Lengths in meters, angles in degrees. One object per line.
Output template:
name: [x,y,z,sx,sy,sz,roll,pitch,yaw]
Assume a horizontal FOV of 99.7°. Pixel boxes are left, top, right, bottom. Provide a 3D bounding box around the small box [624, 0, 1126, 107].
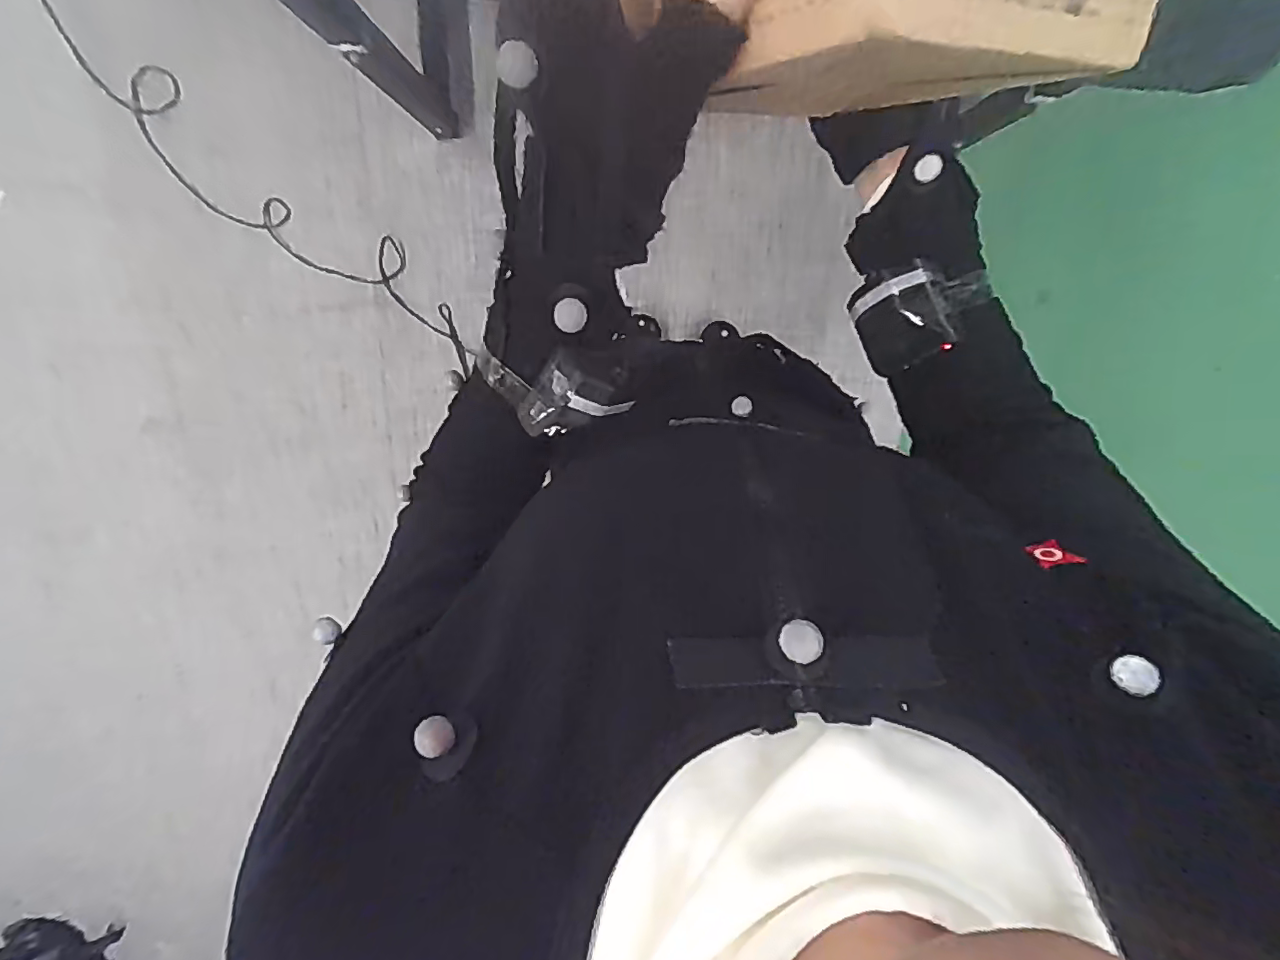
small box: [0.097,-0.269,0.234,0.168,0.179,0.176,-18,123,-26]
